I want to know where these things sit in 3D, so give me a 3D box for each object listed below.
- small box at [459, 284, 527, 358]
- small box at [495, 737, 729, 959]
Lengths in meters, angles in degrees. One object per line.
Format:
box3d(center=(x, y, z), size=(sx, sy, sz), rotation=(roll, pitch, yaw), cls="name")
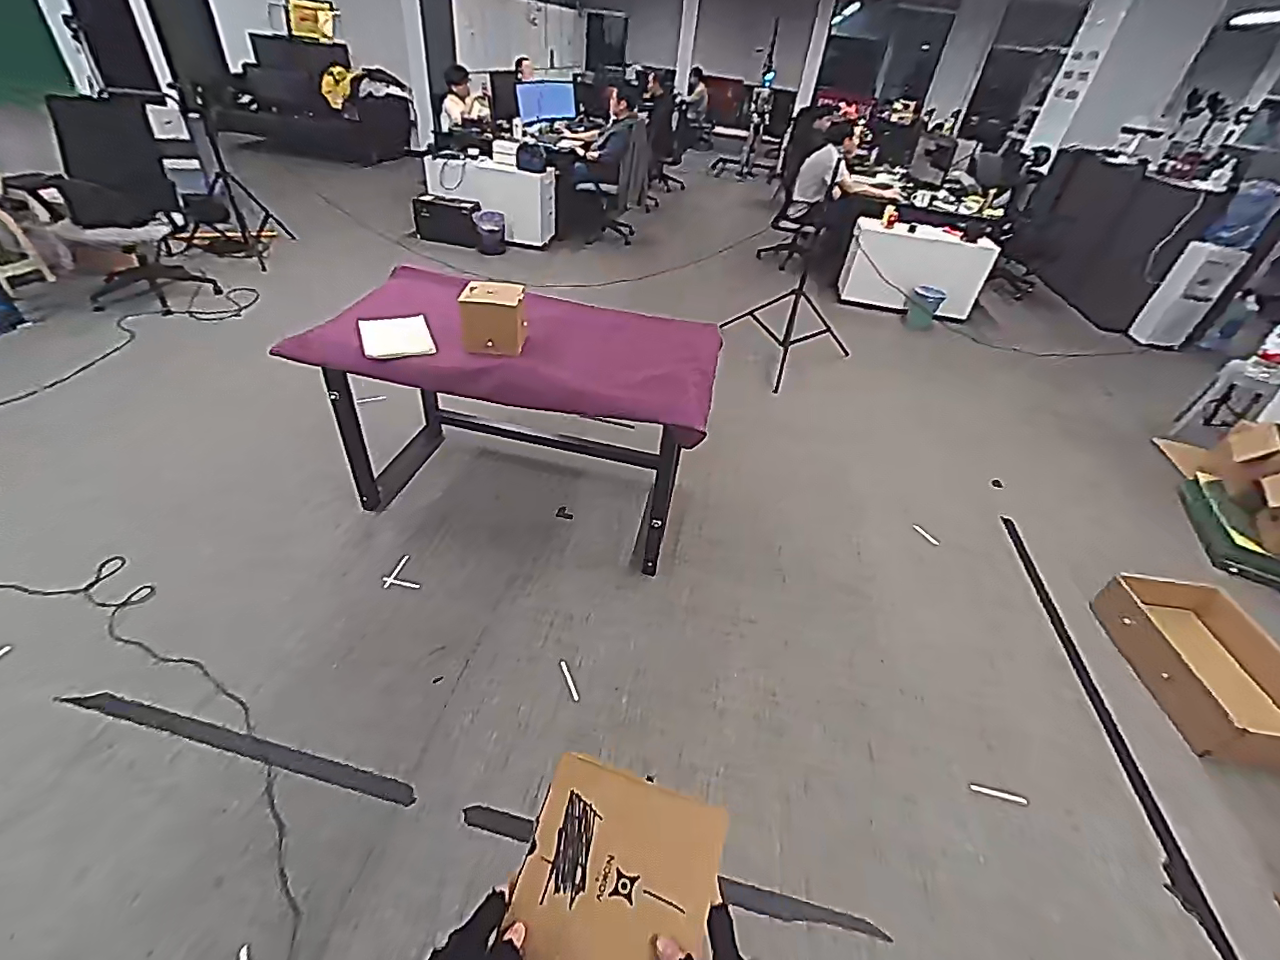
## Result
box3d(center=(-0.459, -0.503, 1.719), size=(0.179, 0.176, 0.168), rotation=(5, 38, -4), cls="small box")
box3d(center=(-0.023, 0.387, 0.563), size=(0.179, 0.176, 0.168), rotation=(16, 62, 7), cls="small box")
